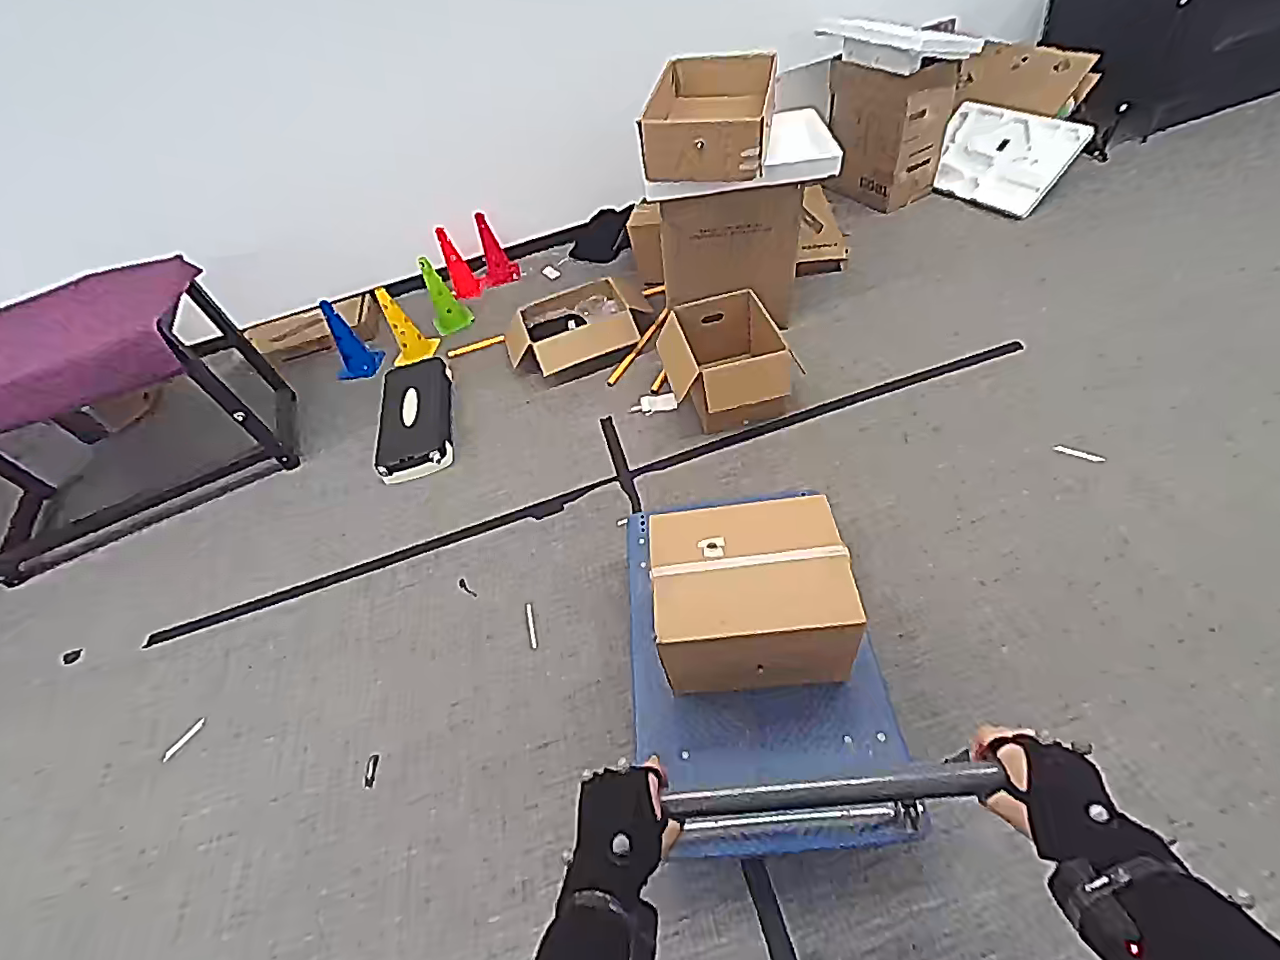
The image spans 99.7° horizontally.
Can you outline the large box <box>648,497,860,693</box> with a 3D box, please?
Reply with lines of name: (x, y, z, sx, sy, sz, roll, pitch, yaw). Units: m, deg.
large box: (0.249, 0.278, 1.262, 0.408, 0.320, 0.320, -8, 49, 7)
